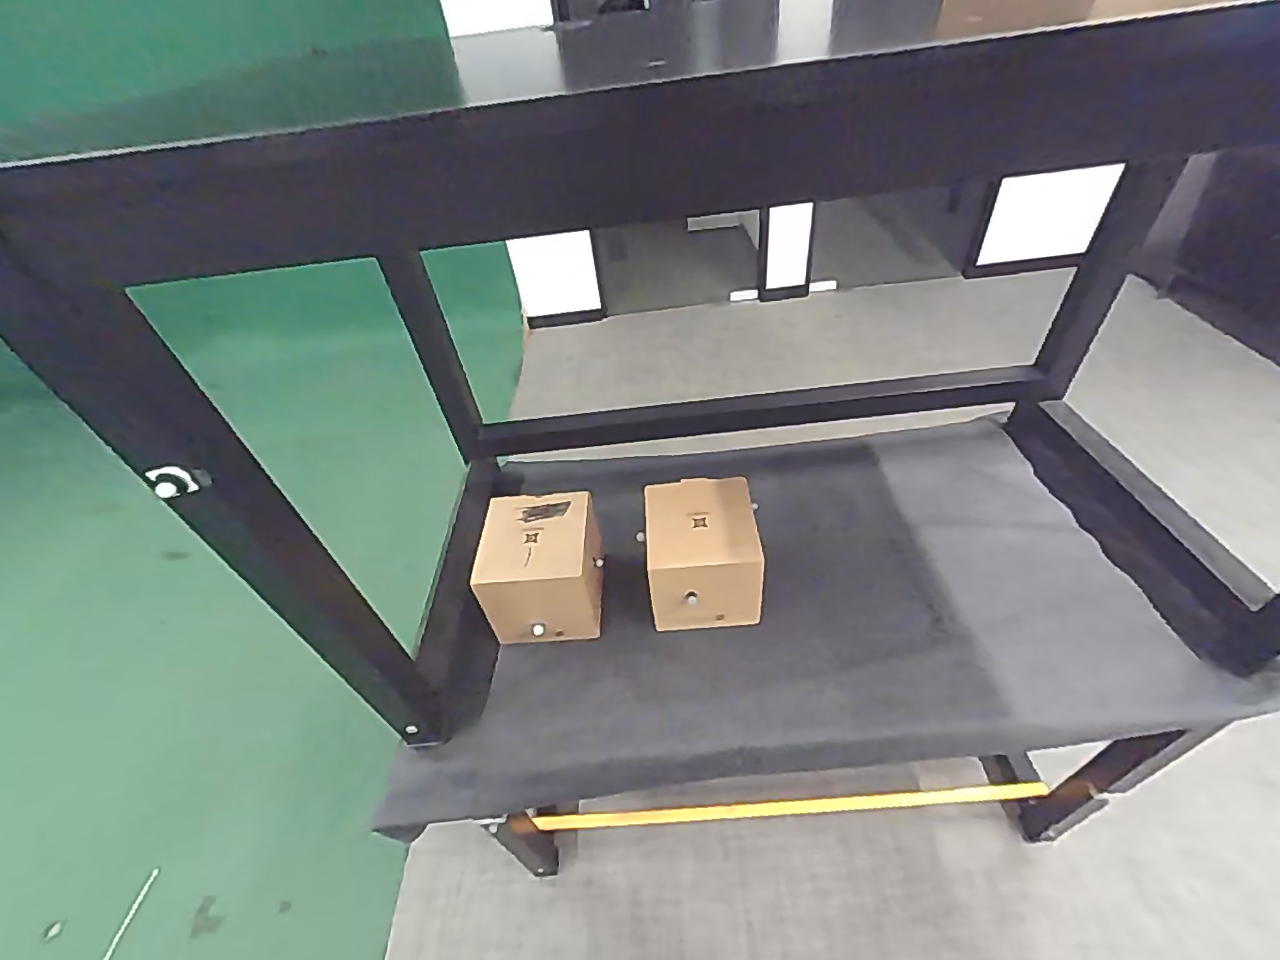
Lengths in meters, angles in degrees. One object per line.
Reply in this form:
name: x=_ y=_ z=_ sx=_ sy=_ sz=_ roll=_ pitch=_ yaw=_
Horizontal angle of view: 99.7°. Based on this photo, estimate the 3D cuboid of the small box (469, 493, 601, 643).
small box: x=-0.158 y=0.144 z=0.884 sx=0.168 sy=0.176 sz=0.179 roll=-5 pitch=43 yaw=3

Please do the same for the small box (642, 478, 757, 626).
small box: x=0.093 y=0.122 z=0.874 sx=0.168 sy=0.176 sz=0.179 roll=-5 pitch=42 yaw=3
